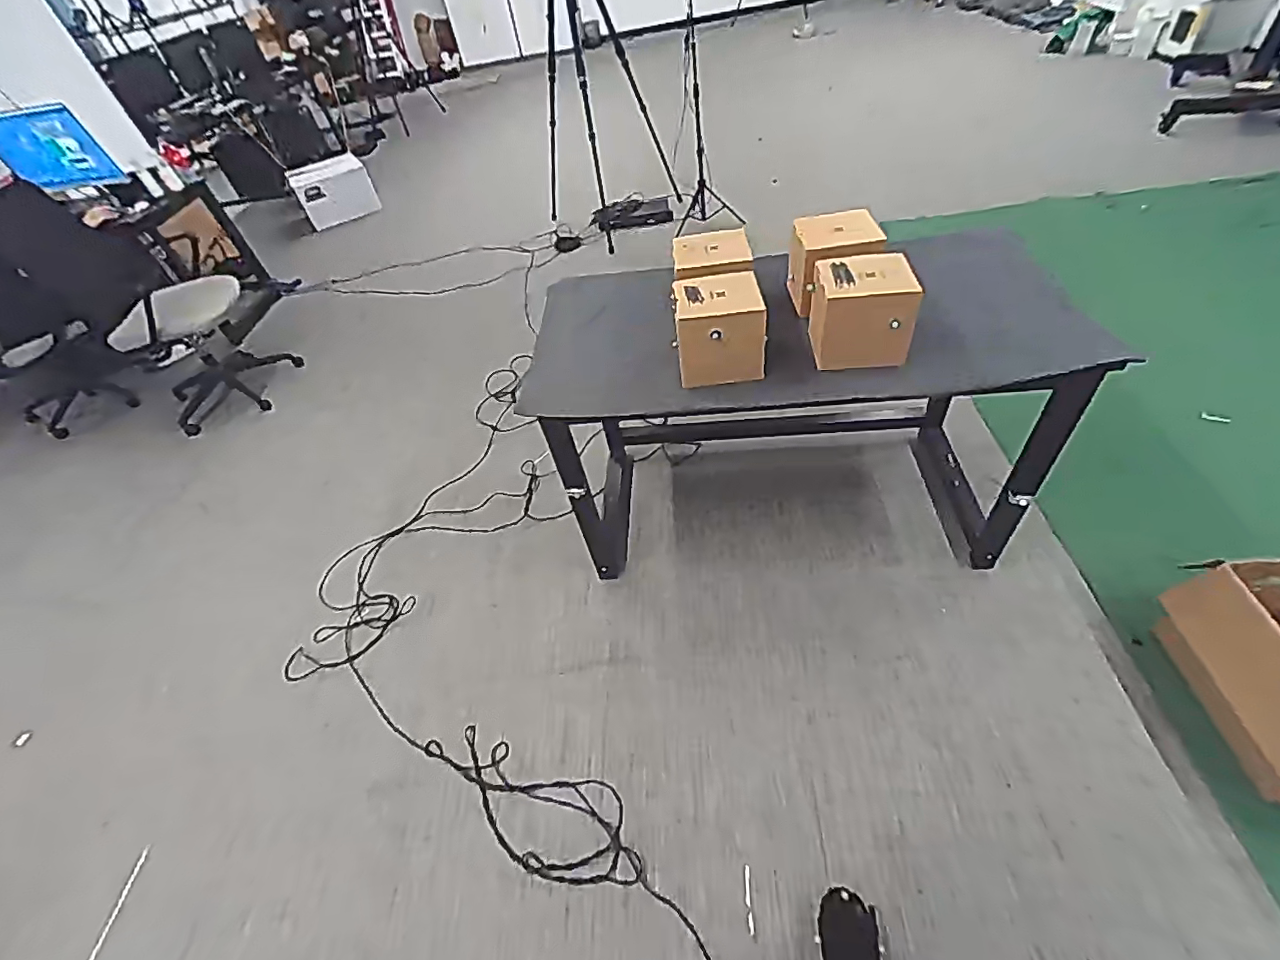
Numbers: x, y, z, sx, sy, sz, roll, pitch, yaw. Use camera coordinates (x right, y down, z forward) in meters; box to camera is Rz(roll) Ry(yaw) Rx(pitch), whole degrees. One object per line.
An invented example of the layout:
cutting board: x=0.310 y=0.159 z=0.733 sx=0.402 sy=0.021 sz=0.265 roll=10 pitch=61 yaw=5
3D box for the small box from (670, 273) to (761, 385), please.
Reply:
small box: x=0.161 y=-0.318 z=1.159 sx=0.179 sy=0.176 sz=0.168 roll=-5 pitch=46 yaw=5
